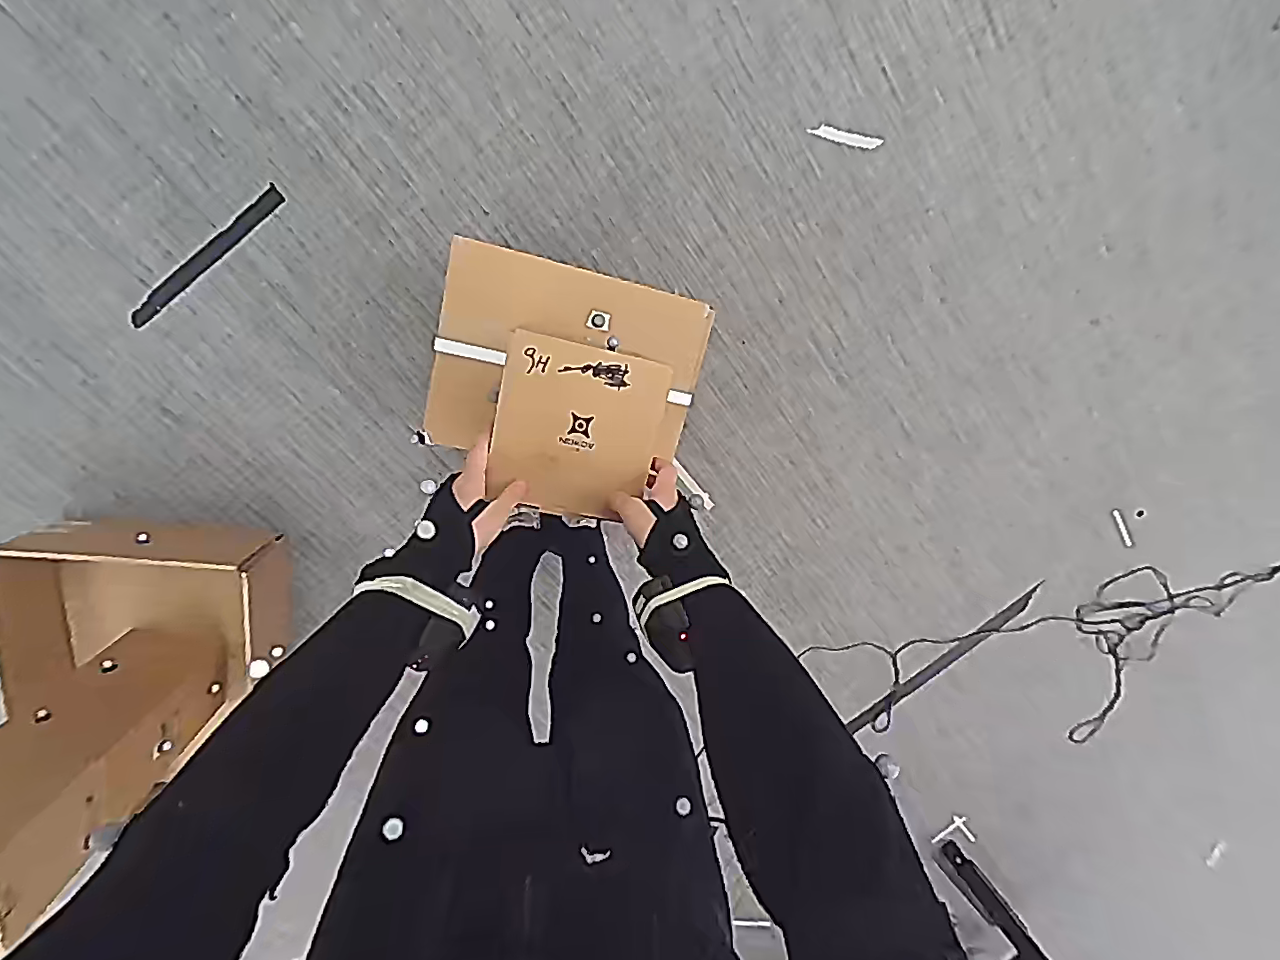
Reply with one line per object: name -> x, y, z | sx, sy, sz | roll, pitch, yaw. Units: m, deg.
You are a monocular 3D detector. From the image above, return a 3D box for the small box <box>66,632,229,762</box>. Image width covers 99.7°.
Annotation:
small box -> -0.948, 0.415, 1.054 | 0.179, 0.176, 0.168 | 9, 105, -13

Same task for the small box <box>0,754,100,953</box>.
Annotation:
small box -> -0.900, 0.505, 0.743 | 0.179, 0.176, 0.168 | 7, 105, -10

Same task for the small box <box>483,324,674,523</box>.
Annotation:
small box -> -0.076, -0.072, 0.623 | 0.168, 0.176, 0.179 | 11, 105, -14

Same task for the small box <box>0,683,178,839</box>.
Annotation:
small box -> -0.922, 0.458, 0.899 | 0.179, 0.176, 0.168 | 8, 105, -13
